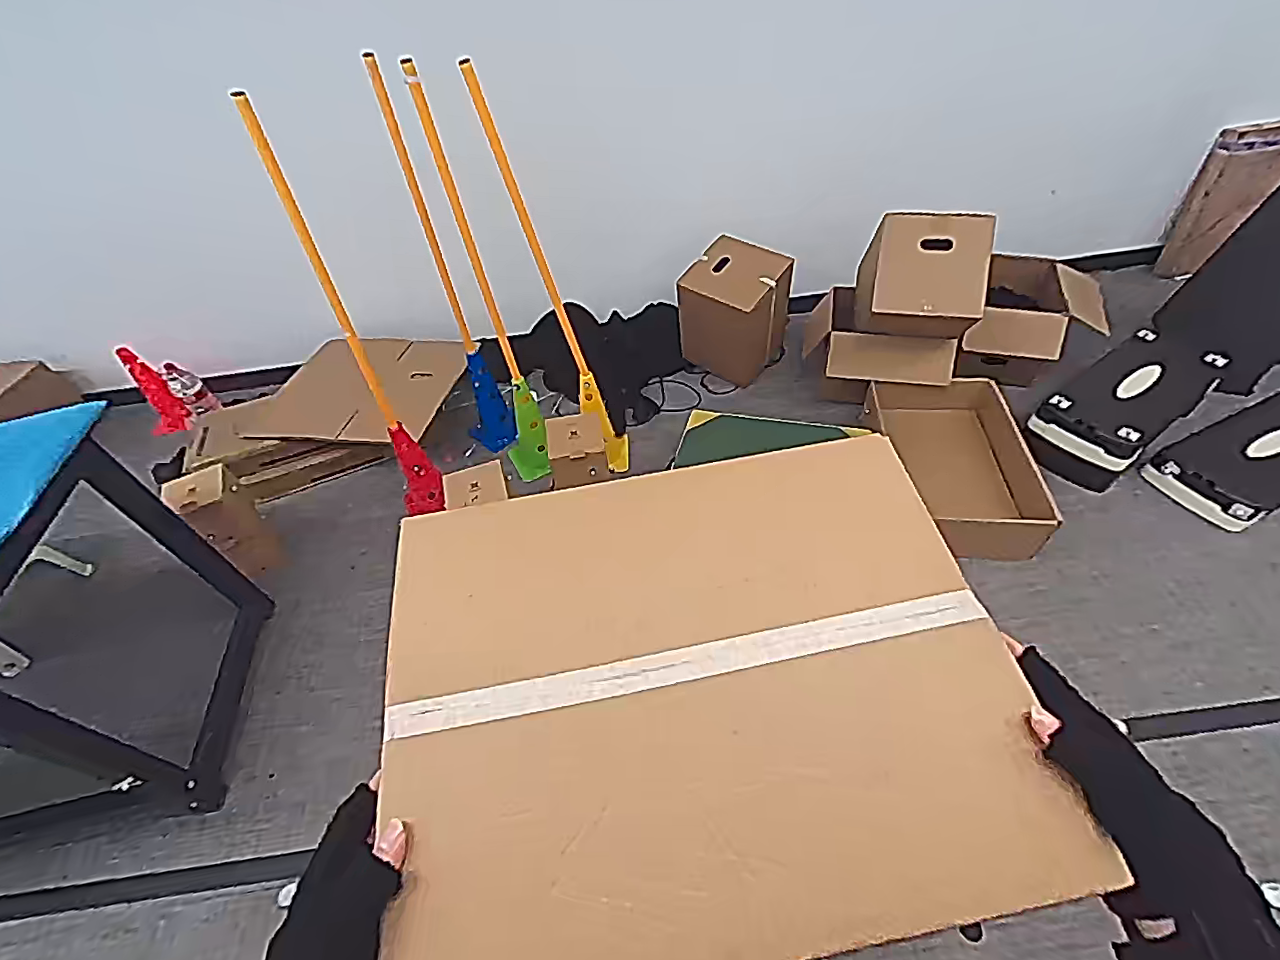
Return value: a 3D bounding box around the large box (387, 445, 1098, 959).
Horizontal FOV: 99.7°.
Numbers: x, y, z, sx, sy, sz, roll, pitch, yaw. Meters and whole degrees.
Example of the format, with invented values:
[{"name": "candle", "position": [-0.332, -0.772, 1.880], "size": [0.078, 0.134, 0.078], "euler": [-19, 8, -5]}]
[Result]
[{"name": "large box", "position": [0.045, 0.213, 0.491], "size": [0.408, 0.320, 0.320], "euler": [-11, 56, -2]}]
